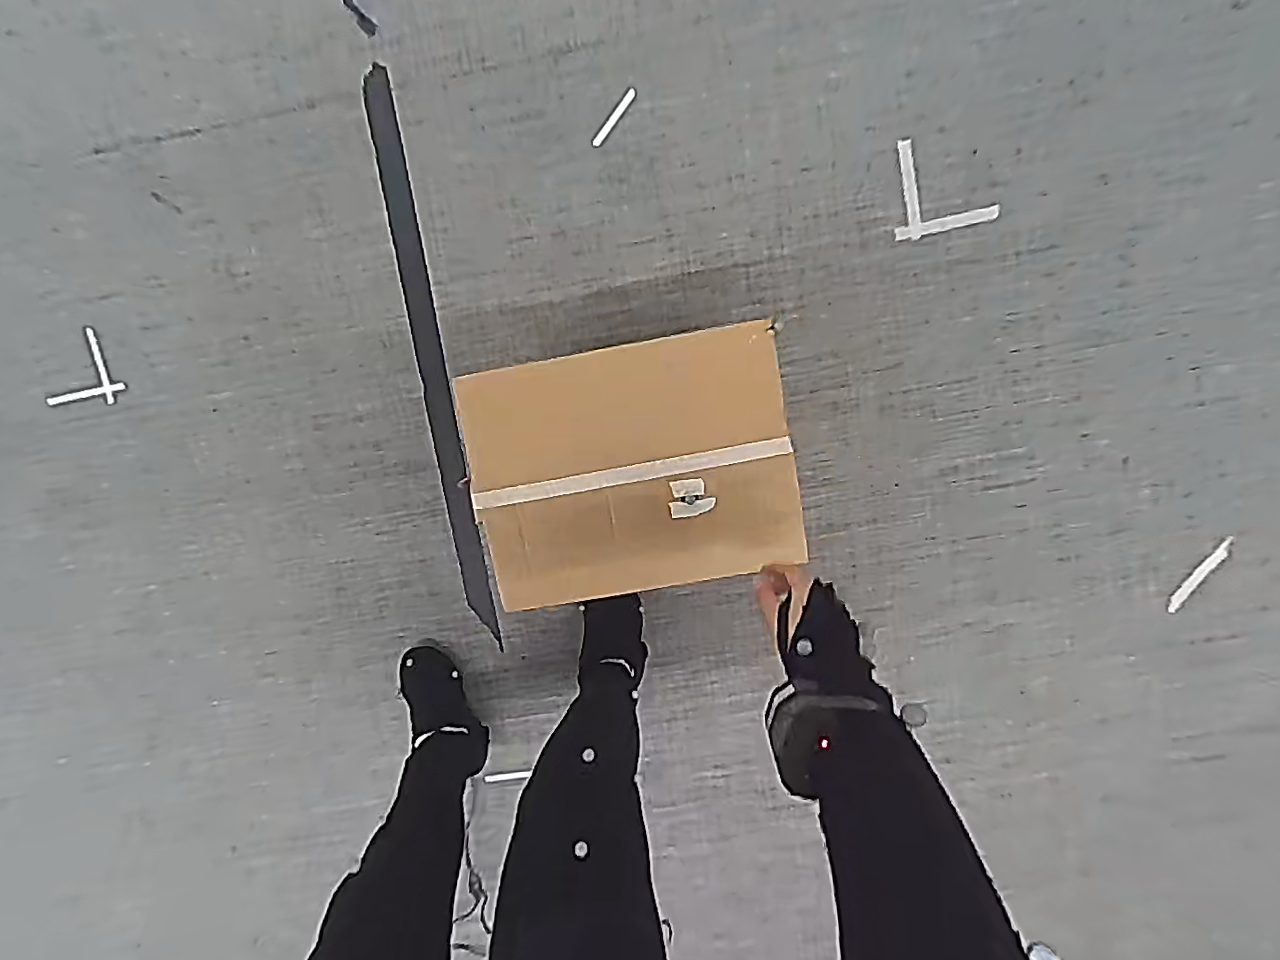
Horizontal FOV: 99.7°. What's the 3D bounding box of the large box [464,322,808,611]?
[{"bbox_3d":[-0.002,-0.027,0.836,0.408,0.320,0.320,-10,98,2],"label":"large box"}]
